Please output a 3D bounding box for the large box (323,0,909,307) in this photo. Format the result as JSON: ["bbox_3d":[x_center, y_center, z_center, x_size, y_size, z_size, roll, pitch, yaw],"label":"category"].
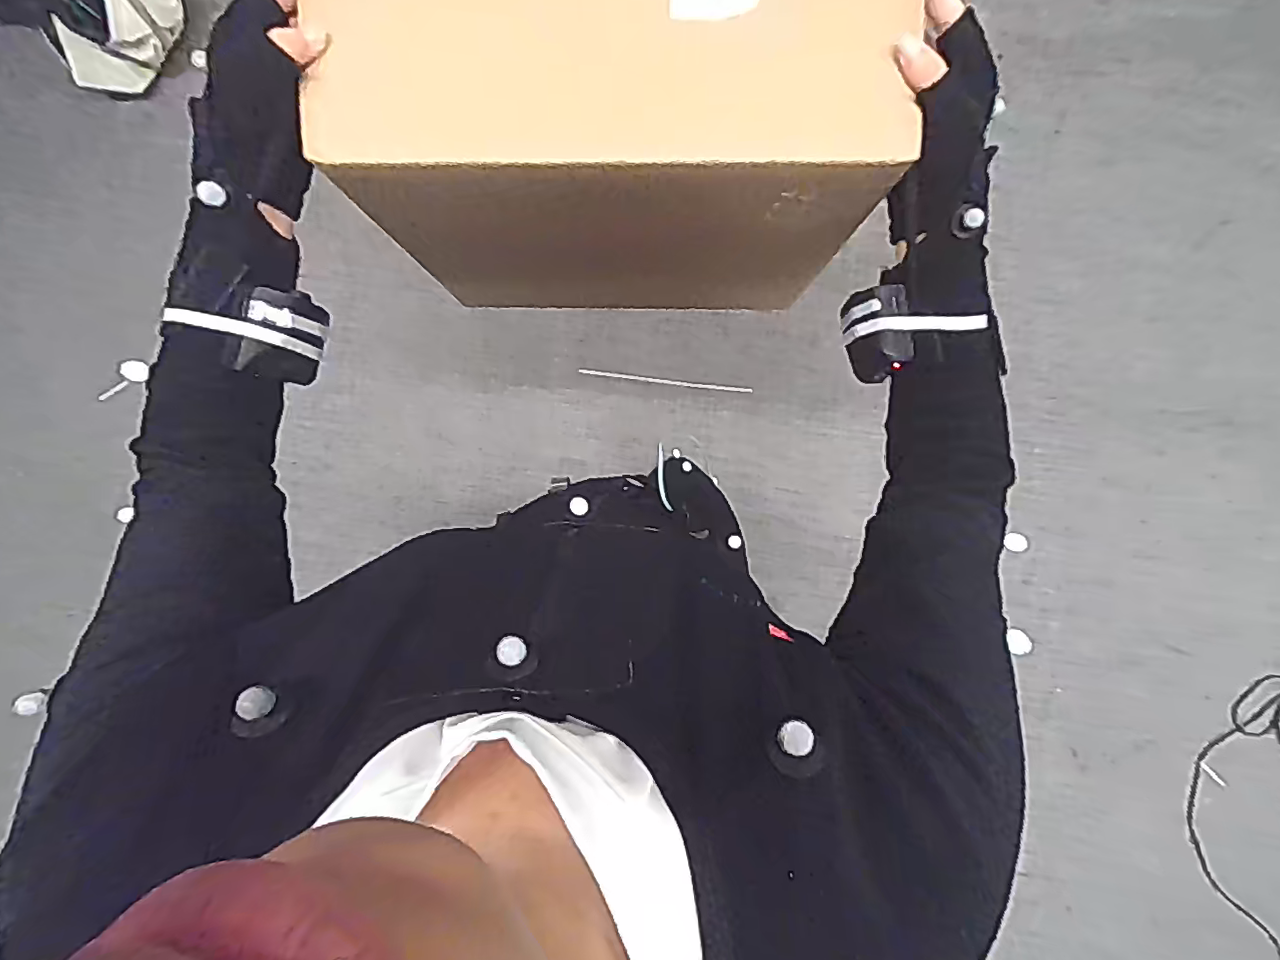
[{"bbox_3d":[-0.020,-0.368,0.517,0.408,0.320,0.320,0,91,-1],"label":"large box"}]
